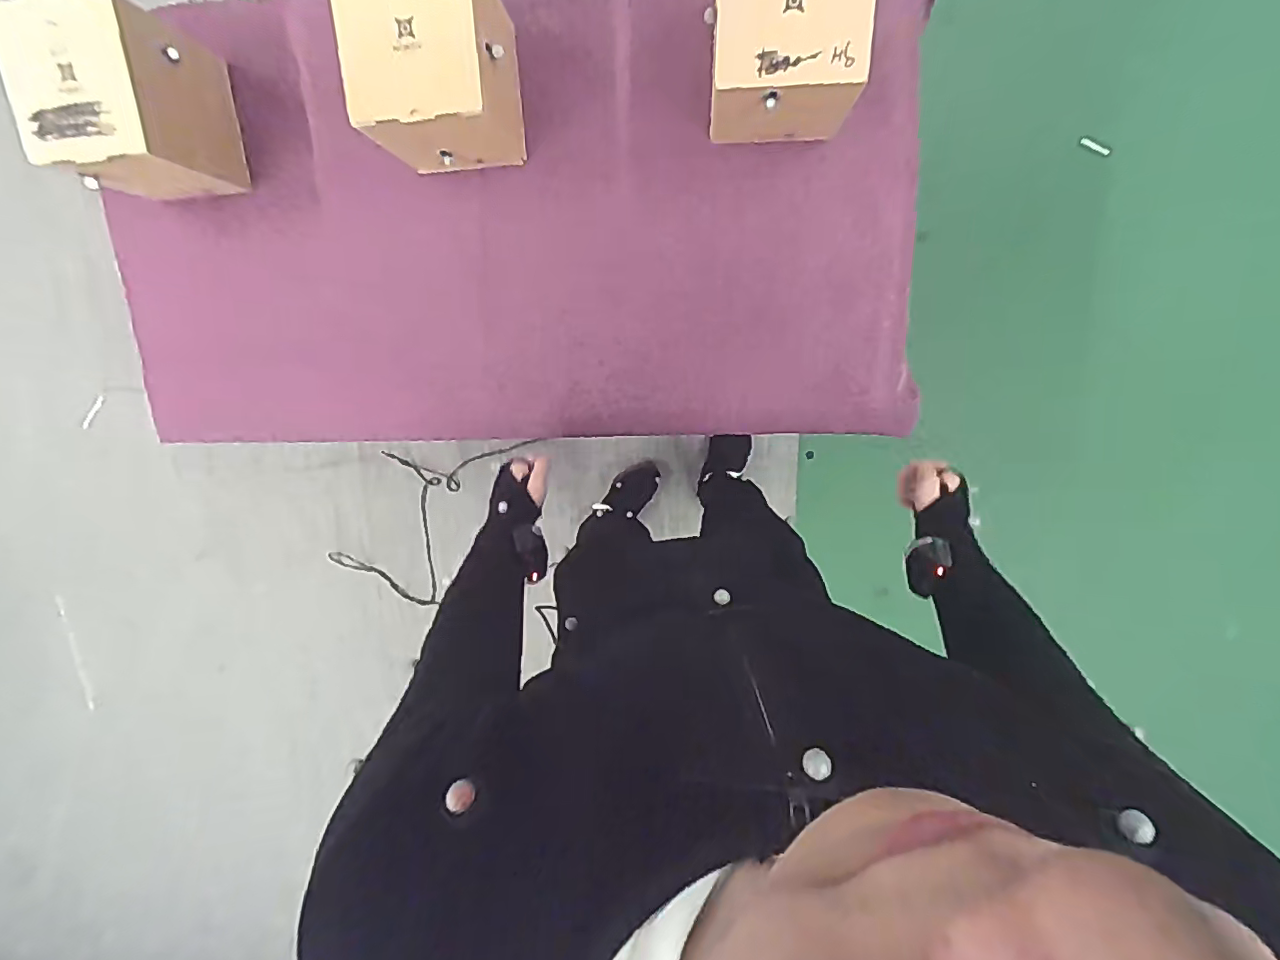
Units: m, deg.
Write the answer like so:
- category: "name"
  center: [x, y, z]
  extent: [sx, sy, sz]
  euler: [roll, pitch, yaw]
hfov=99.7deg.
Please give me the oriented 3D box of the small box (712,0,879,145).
- category: "small box"
  center: [0.173, -0.525, 0.641]
  extent: [0.168, 0.176, 0.179]
  euler: [2, 103, 6]

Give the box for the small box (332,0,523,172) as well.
- category: "small box"
  center: [-0.254, -0.516, 0.681]
  extent: [0.168, 0.176, 0.179]
  euler: [-2, 103, 5]
